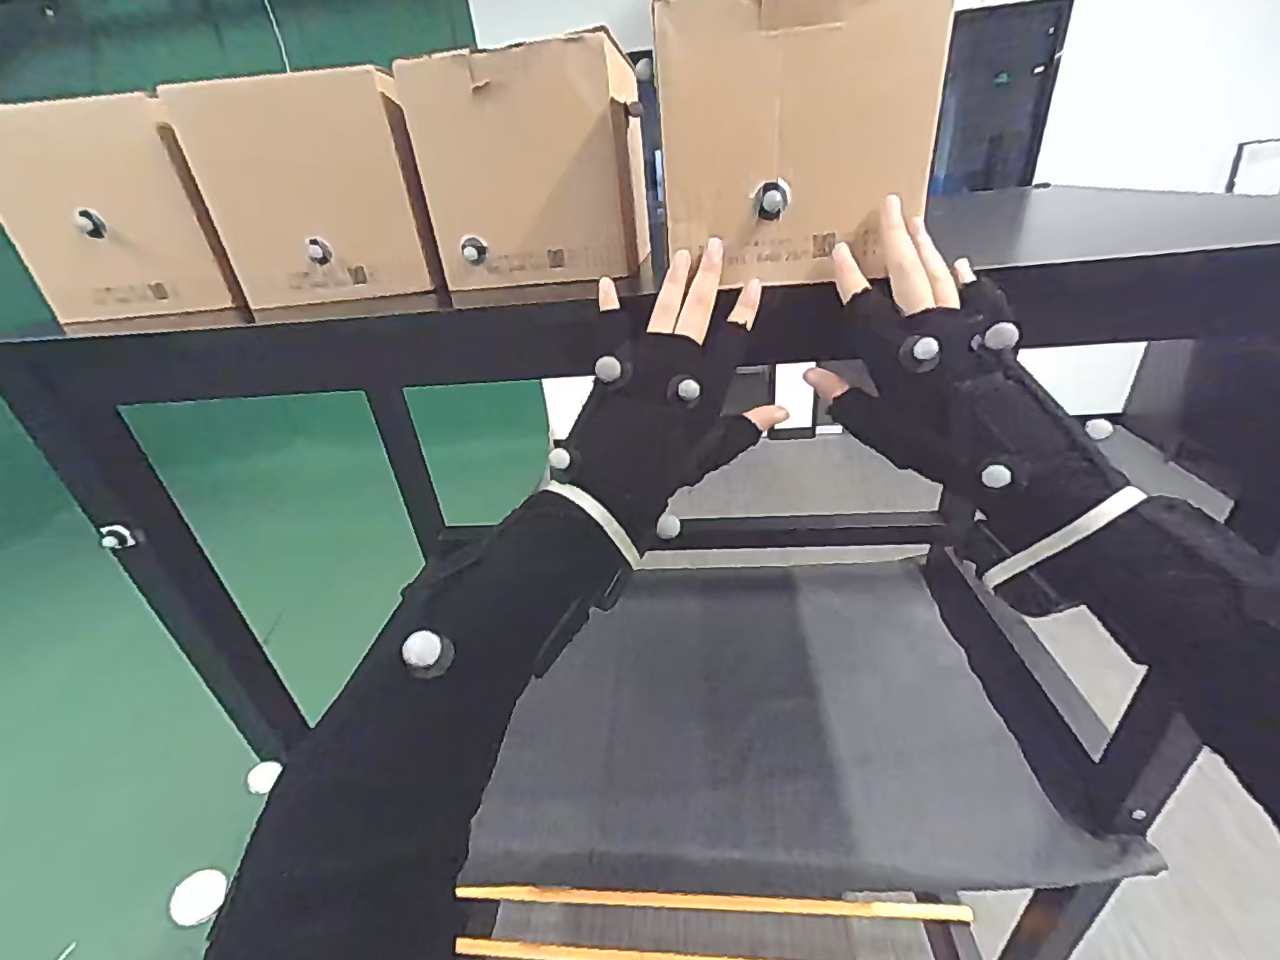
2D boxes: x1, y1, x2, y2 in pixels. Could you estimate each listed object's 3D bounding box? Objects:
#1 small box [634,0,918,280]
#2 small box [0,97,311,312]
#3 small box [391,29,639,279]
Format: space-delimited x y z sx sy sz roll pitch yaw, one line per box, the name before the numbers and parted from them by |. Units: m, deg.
small box | 0.090 -0.256 0.419 0.168 0.176 0.179 -2 29 7
small box | -0.477 -0.271 0.553 0.168 0.176 0.179 -4 28 0
small box | -0.096 -0.292 0.517 0.168 0.176 0.179 -2 28 8
